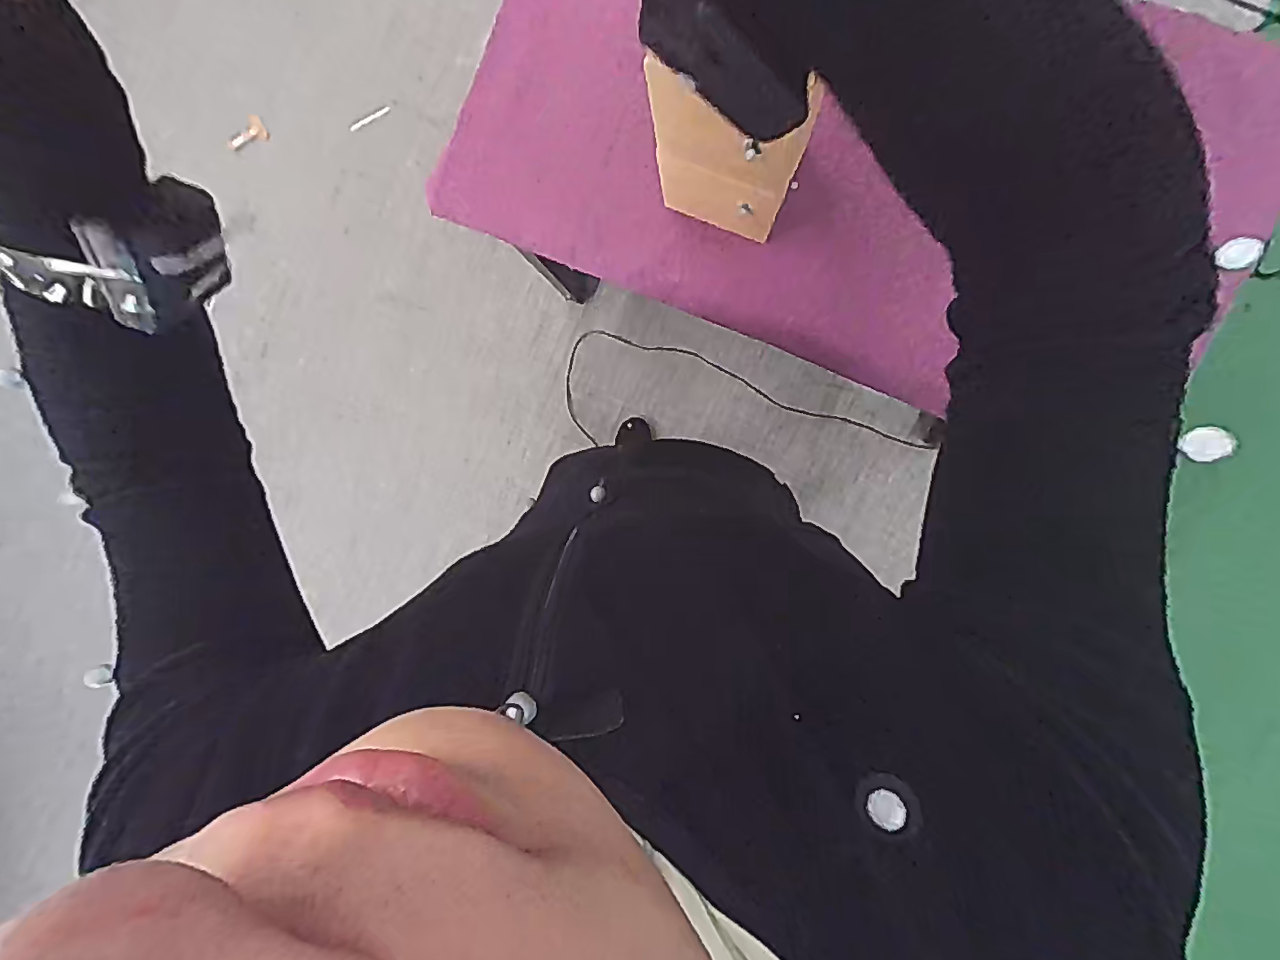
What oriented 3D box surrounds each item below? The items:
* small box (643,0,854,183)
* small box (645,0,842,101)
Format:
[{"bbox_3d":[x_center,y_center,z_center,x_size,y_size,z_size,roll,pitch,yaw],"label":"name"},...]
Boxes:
[{"bbox_3d":[0.123,-0.475,0.618,0.179,0.176,0.168,24,95,6],"label":"small box"},{"bbox_3d":[0.105,-0.472,0.457,0.168,0.176,0.179,23,96,5],"label":"small box"}]
